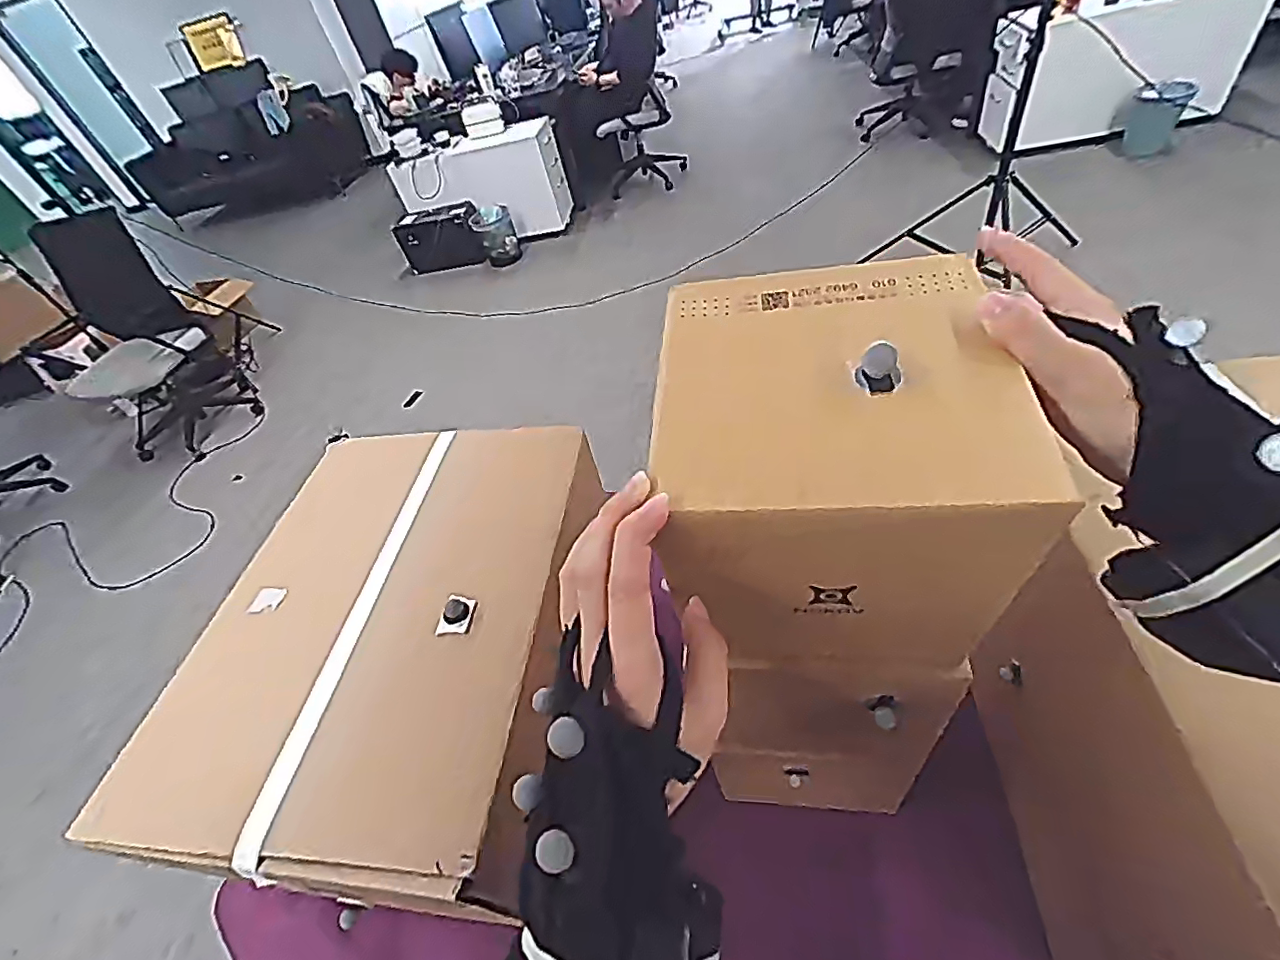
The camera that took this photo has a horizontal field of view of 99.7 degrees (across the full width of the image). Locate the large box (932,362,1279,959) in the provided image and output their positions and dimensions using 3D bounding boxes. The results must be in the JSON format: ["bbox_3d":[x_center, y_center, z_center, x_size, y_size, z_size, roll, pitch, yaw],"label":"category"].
[{"bbox_3d":[0.480,0.155,0.441,0.320,0.320,0.408,-4,45,11],"label":"large box"}]
